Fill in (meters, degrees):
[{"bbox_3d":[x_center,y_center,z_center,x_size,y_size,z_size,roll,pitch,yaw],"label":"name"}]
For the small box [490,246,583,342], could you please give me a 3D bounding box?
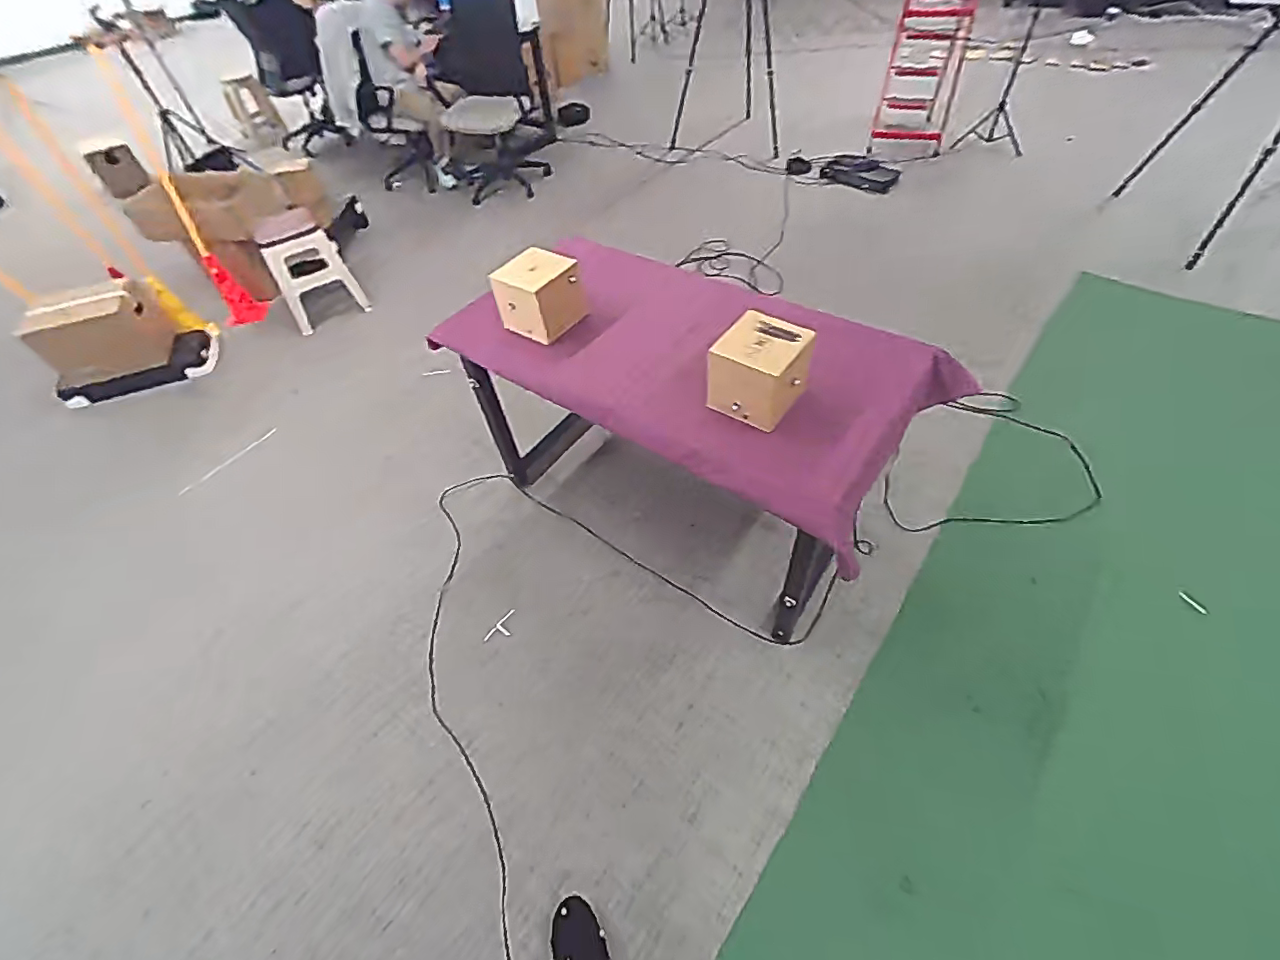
[{"bbox_3d":[-0.273,-0.507,1.479,0.168,0.176,0.179,27,57,24],"label":"small box"}]
